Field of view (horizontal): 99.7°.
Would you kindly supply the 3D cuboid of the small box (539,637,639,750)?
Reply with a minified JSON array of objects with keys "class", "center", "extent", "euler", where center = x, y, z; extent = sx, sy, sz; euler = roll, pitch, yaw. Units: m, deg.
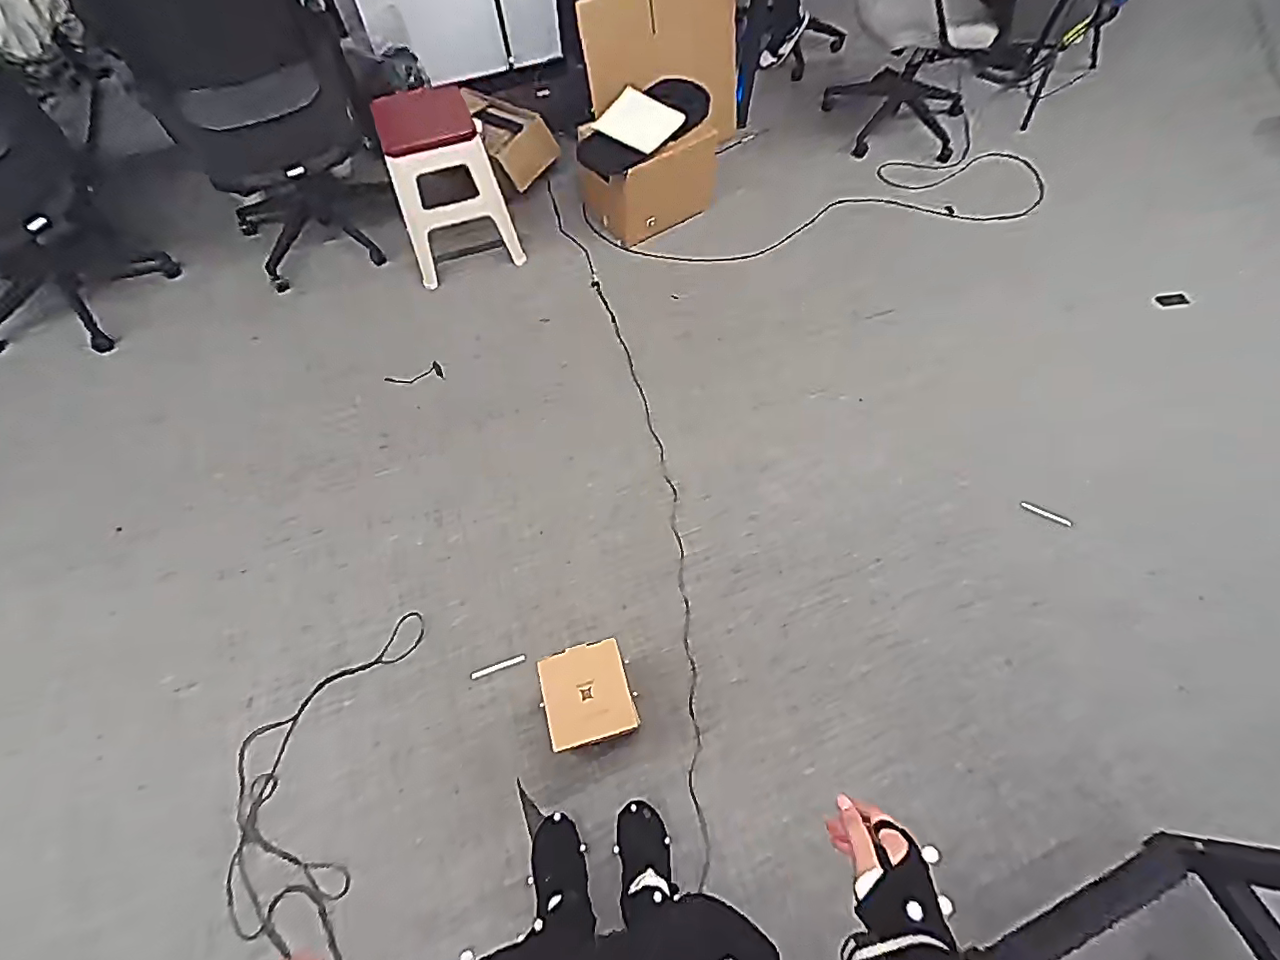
[{"class":"small box","center":[-0.104,0.449,1.125],"extent":[0.168,0.176,0.179],"euler":[-15,65,-7]}]
